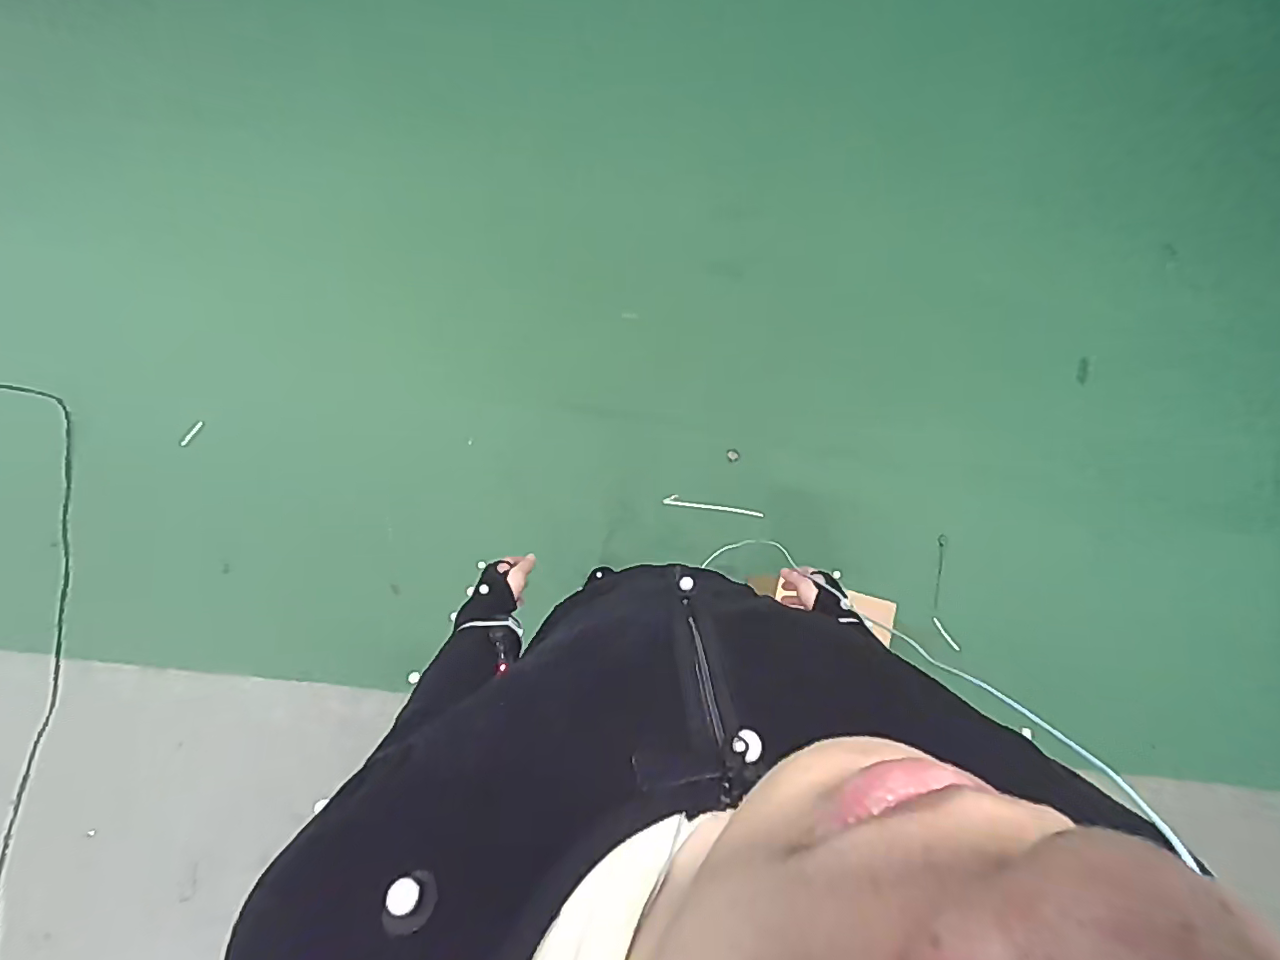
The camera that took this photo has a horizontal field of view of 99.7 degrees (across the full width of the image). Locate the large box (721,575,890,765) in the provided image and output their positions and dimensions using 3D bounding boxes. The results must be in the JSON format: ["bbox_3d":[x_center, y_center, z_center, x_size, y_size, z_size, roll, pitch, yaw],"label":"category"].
[{"bbox_3d":[0.441,0.494,1.494,0.320,0.320,0.408,15,80,-1],"label":"large box"}]
